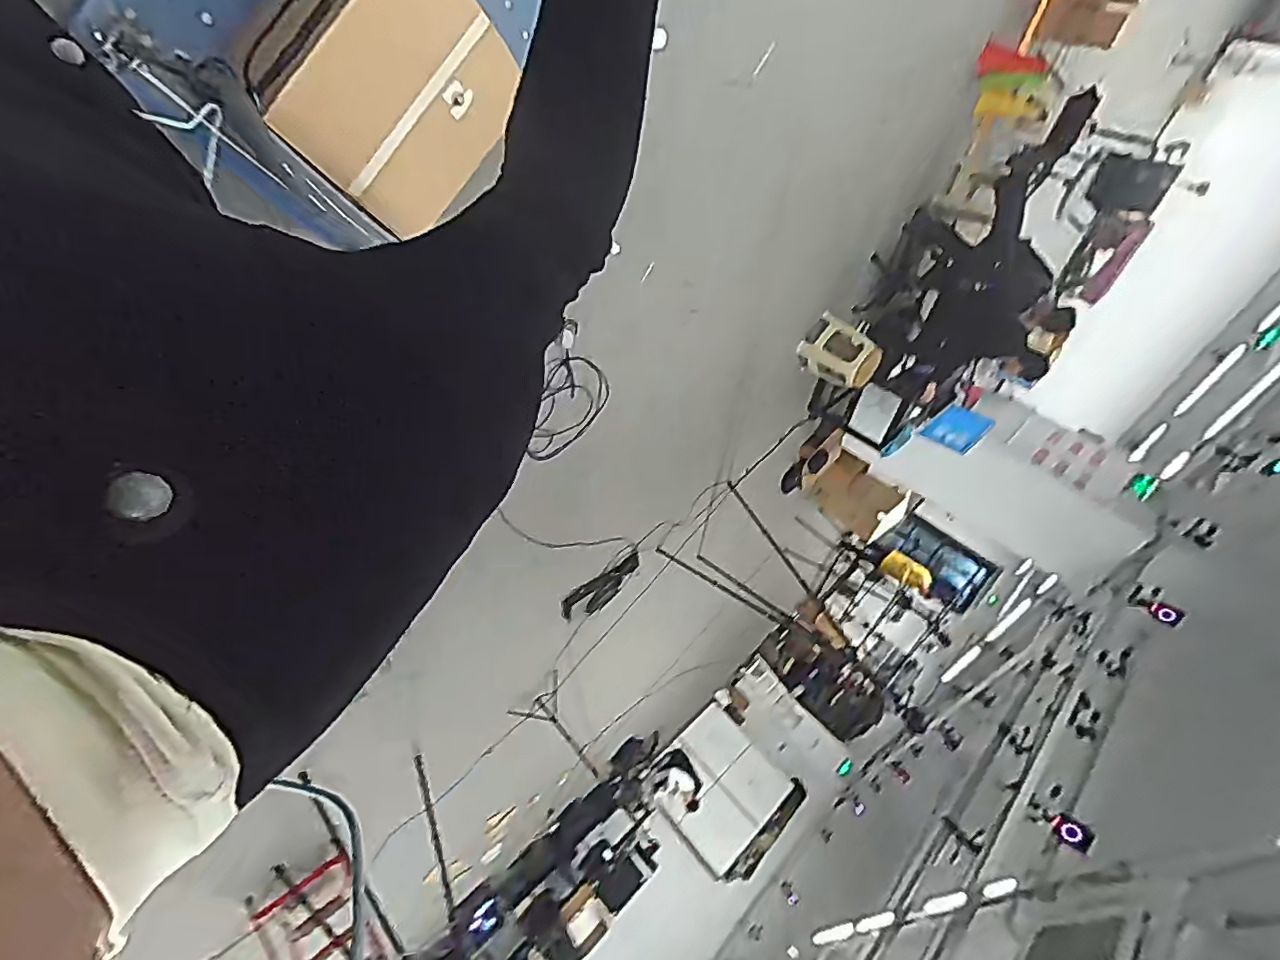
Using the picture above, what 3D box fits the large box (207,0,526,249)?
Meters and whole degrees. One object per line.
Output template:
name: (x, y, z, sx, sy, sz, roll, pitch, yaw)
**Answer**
large box: (-0.507, -0.740, 1.023, 0.408, 0.320, 0.320, -52, 152, 1)
